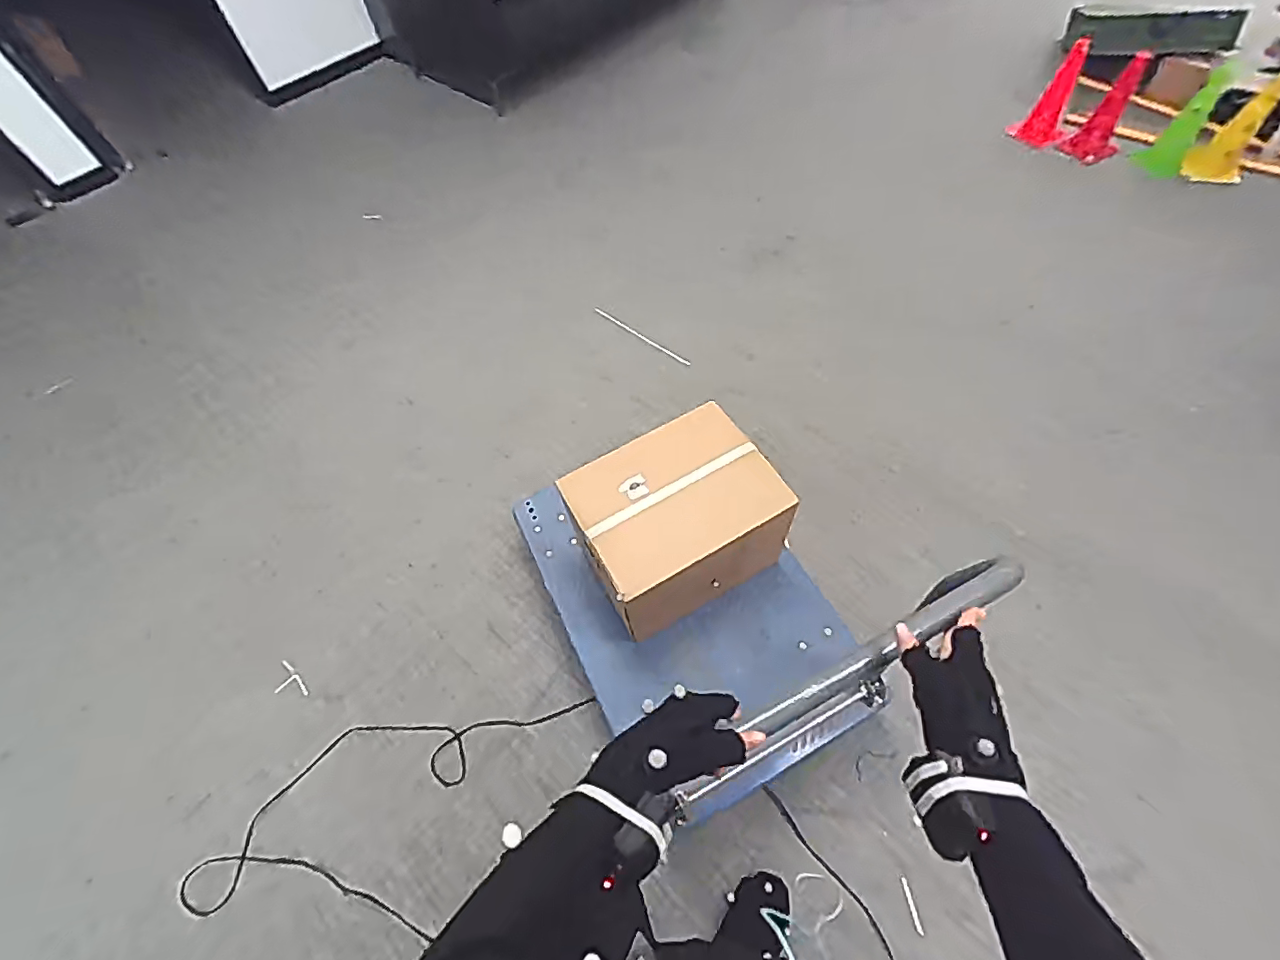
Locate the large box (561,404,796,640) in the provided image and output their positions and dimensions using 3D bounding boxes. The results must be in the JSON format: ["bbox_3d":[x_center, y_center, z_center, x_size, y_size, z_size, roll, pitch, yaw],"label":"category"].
[{"bbox_3d":[0.087,0.104,1.247,0.408,0.320,0.320,-30,61,-11],"label":"large box"}]
